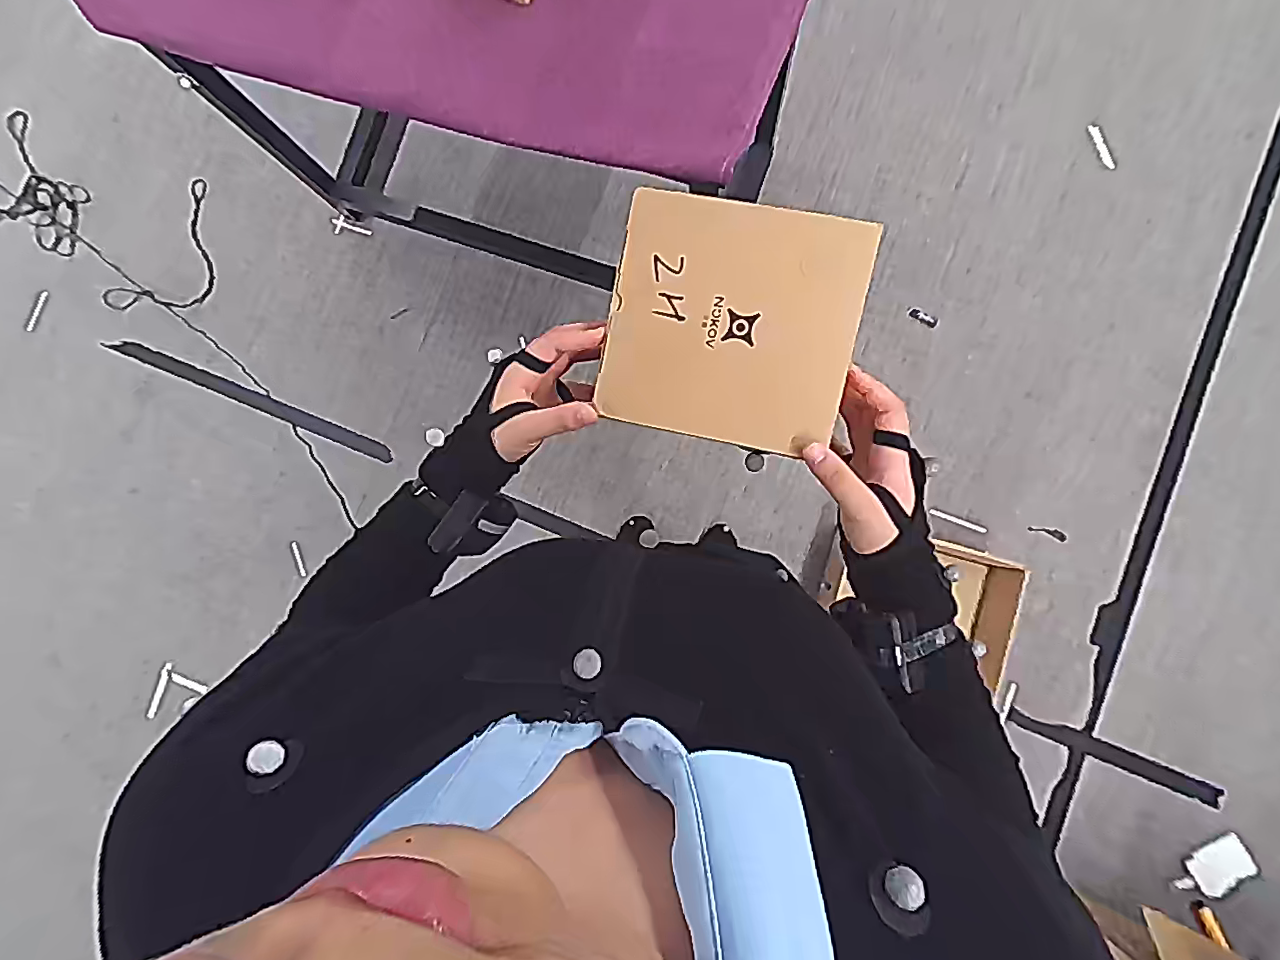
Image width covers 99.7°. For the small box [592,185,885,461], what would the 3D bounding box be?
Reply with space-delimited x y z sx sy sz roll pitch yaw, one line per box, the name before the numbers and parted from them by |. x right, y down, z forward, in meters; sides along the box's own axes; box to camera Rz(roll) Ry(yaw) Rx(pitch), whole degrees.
small box | 0.076 -0.117 0.460 0.179 0.176 0.168 13 95 8
